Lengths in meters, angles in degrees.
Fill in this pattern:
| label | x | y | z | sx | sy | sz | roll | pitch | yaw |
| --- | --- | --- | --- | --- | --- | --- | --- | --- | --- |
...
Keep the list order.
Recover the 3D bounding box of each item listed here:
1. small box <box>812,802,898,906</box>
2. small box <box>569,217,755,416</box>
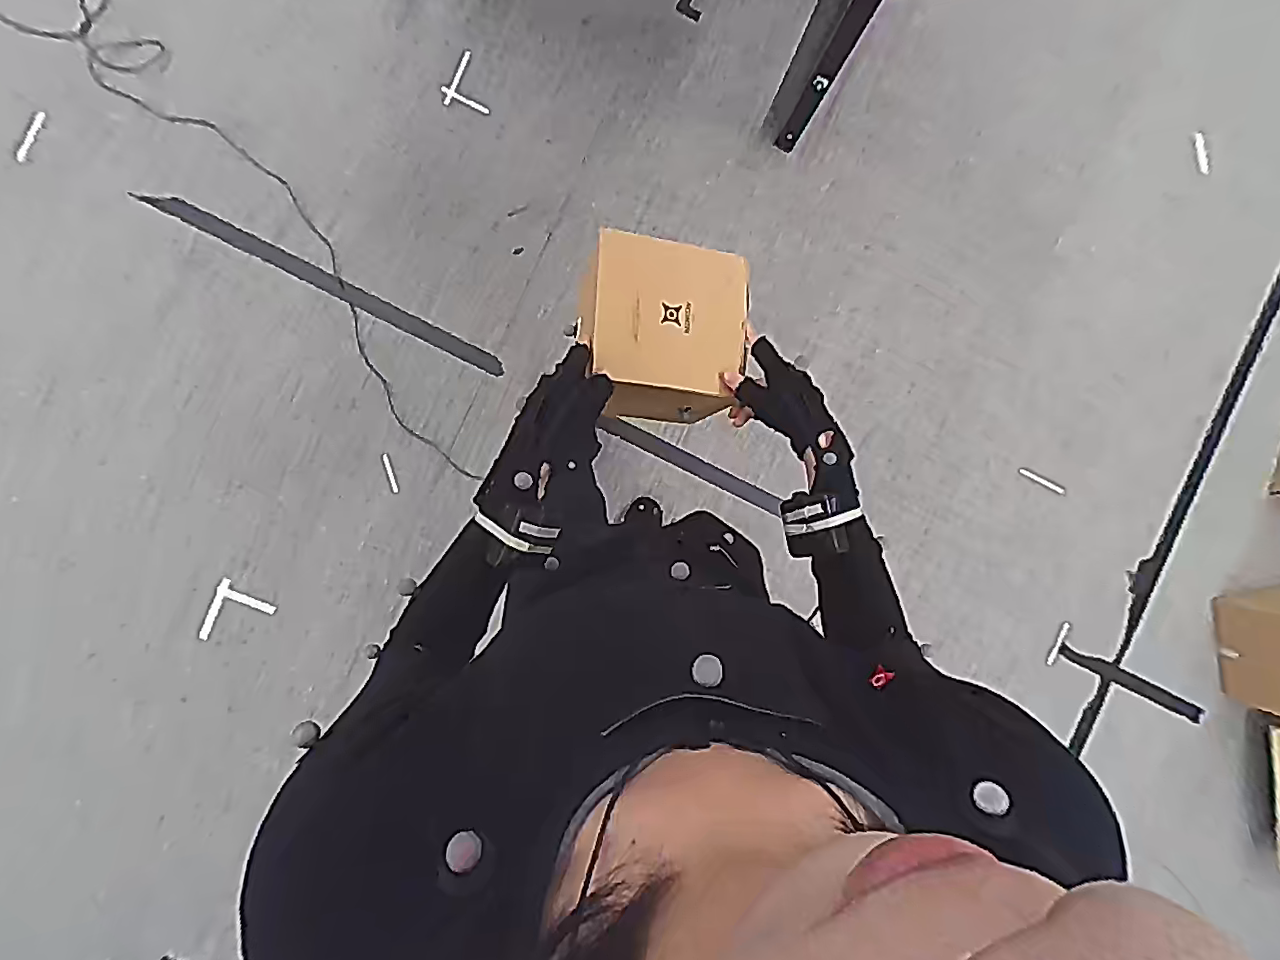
| label | x | y | z | sx | sy | sz | roll | pitch | yaw |
| --- | --- | --- | --- | --- | --- | --- | --- | --- | --- |
| small box | 0.586 | 1.031 | 1.495 | 0.168 | 0.176 | 0.179 | 3 | 90 | -4 |
| small box | 0.019 | -0.177 | 0.647 | 0.179 | 0.176 | 0.168 | 5 | 83 | -15 |
